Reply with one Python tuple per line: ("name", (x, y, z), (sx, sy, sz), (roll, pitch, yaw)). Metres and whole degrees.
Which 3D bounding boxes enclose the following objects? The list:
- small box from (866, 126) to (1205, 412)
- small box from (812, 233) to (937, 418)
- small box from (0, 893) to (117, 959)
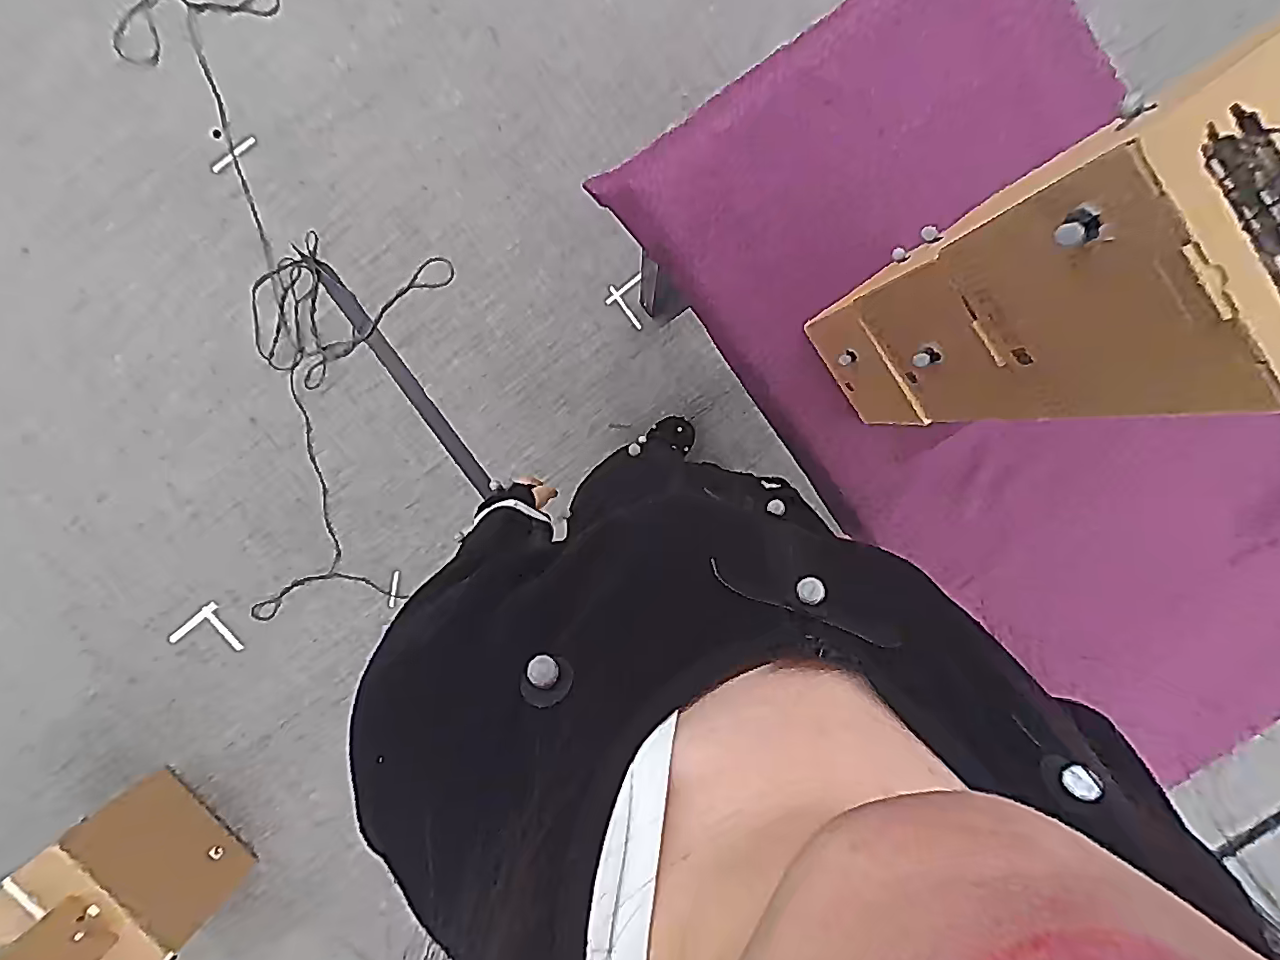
("small box", (0.349, -0.178, 0.523), (0.179, 0.176, 0.168), (-37, 96, 3))
("small box", (0.342, -0.190, 0.686), (0.179, 0.176, 0.168), (-35, 96, 2))
("small box", (-1.374, 1.107, 1.229), (0.179, 0.176, 0.168), (-39, 96, 2))
